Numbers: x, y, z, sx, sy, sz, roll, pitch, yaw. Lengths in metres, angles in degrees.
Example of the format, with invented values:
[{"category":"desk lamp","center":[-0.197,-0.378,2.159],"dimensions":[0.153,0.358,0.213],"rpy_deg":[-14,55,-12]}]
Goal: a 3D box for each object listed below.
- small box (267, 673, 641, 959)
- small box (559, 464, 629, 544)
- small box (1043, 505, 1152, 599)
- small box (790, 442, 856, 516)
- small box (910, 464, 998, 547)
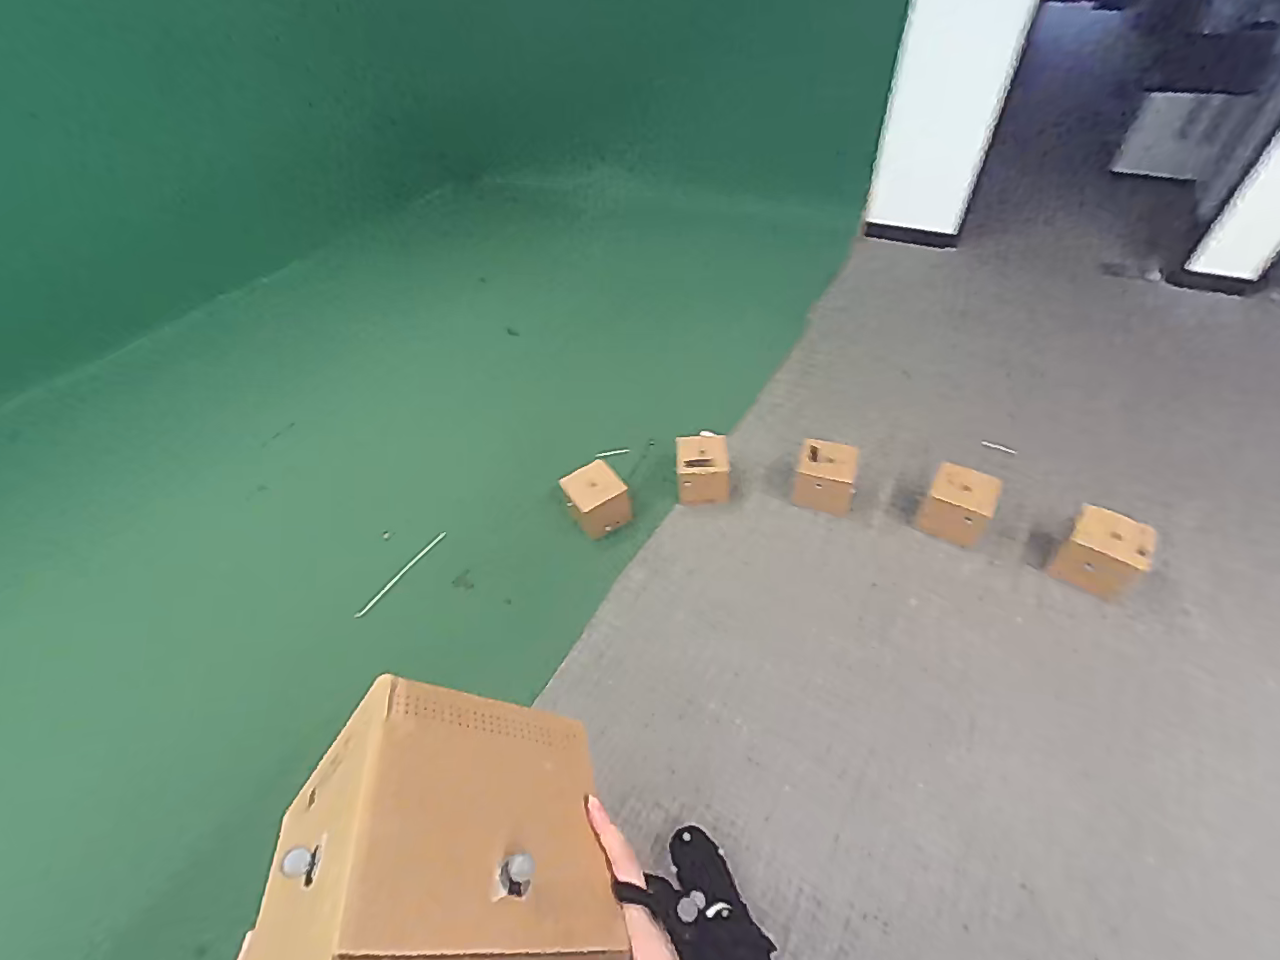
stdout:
[{"category":"small box","center":[-0.133,0.264,0.377],"dimensions":[0.168,0.179,0.176],"rpy_deg":[-53,31,15]},{"category":"small box","center":[-0.152,0.082,1.834],"dimensions":[0.168,0.176,0.179],"rpy_deg":[-29,51,-18]},{"category":"small box","center":[1.299,0.210,1.547],"dimensions":[0.179,0.176,0.168],"rpy_deg":[28,57,28]},{"category":"small box","center":[0.610,-0.001,1.817],"dimensions":[0.179,0.176,0.168],"rpy_deg":[13,51,17]},{"category":"small box","center":[0.980,0.085,1.696],"dimensions":[0.179,0.176,0.168],"rpy_deg":[23,54,25]}]
